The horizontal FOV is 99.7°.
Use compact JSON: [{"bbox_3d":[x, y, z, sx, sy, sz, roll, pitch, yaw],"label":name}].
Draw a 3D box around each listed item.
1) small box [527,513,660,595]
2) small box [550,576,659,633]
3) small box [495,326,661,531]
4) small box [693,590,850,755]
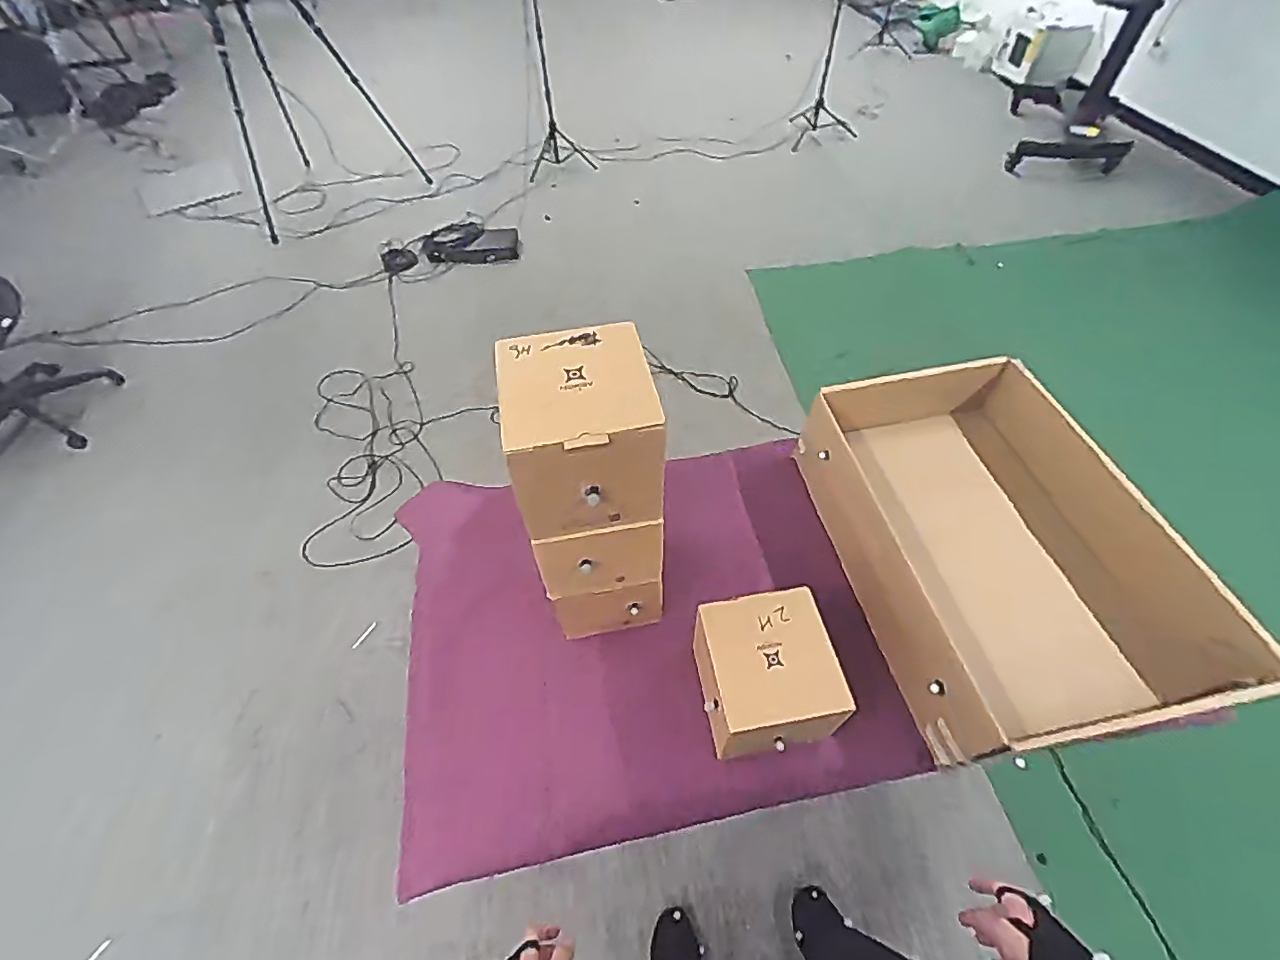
[{"bbox_3d":[-0.066,0.049,0.773,0.168,0.176,0.179,-9,53,-5],"label":"small box"},{"bbox_3d":[-0.062,0.143,0.905,0.168,0.176,0.179,-9,53,-5],"label":"small box"},{"bbox_3d":[-0.070,-0.053,0.644,0.168,0.176,0.179,-9,54,-6],"label":"small box"},{"bbox_3d":[0.176,0.285,0.784,0.168,0.176,0.179,-8,52,-4],"label":"small box"}]
